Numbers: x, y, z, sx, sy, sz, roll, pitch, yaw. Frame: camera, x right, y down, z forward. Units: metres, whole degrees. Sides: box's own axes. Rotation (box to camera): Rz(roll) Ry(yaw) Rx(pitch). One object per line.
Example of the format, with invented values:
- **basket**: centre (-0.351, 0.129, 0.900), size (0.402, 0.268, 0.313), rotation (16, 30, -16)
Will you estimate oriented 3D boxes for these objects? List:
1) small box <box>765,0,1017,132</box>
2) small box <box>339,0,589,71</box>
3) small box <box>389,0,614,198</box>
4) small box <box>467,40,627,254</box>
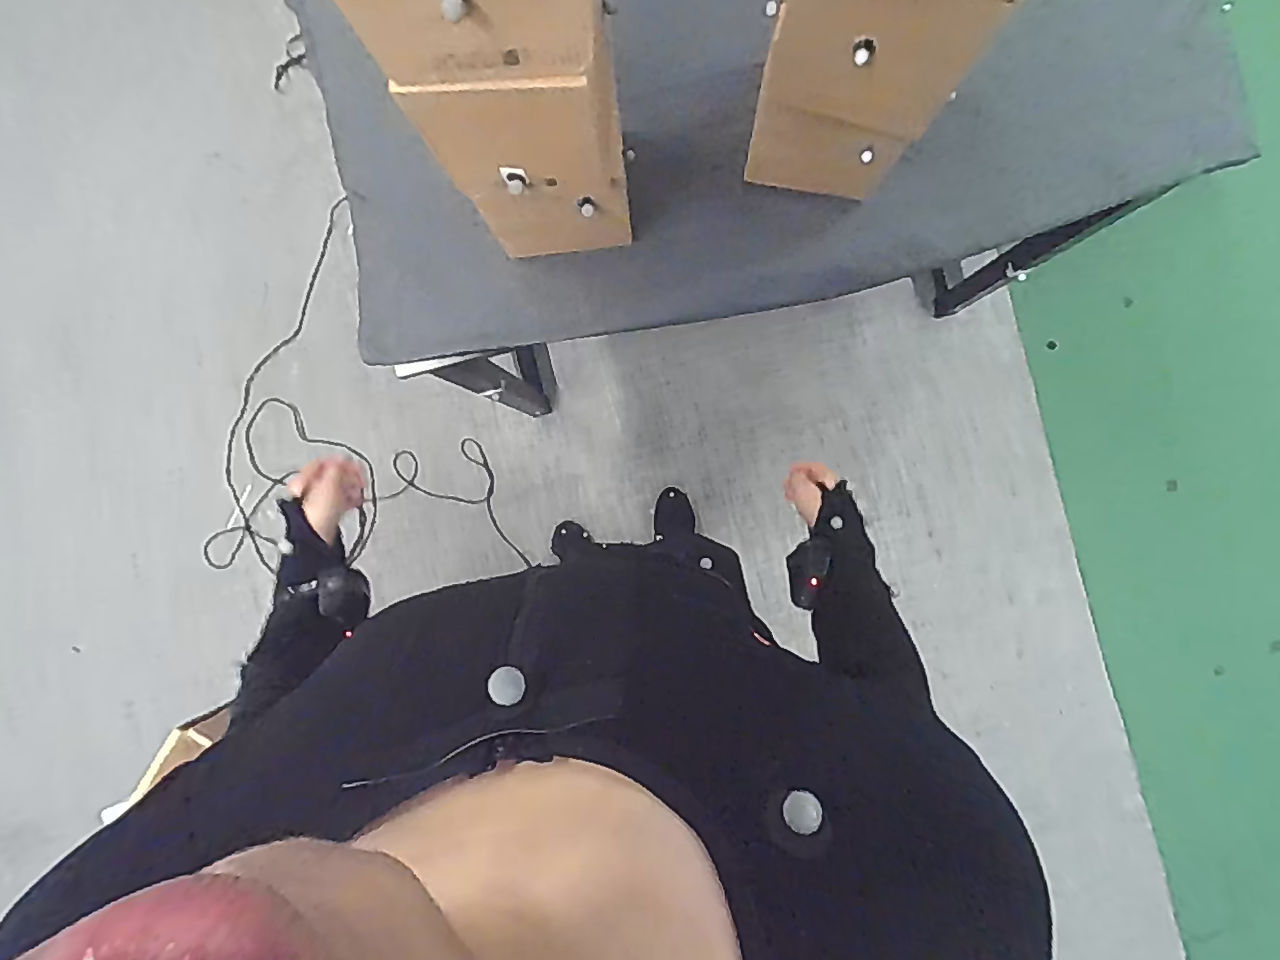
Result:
- **small box**: centre (0.233, -0.462, 0.496), size (0.179, 0.176, 0.168), rotation (18, 90, 3)
- **small box**: centre (-0.127, -0.407, 0.353), size (0.168, 0.176, 0.179), rotation (-1, 90, 4)
- **small box**: centre (-0.118, -0.400, 0.517), size (0.168, 0.176, 0.179), rotation (0, 91, 4)
- **small box**: centre (-0.109, -0.404, 0.679), size (0.179, 0.176, 0.168), rotation (-5, 89, 3)
